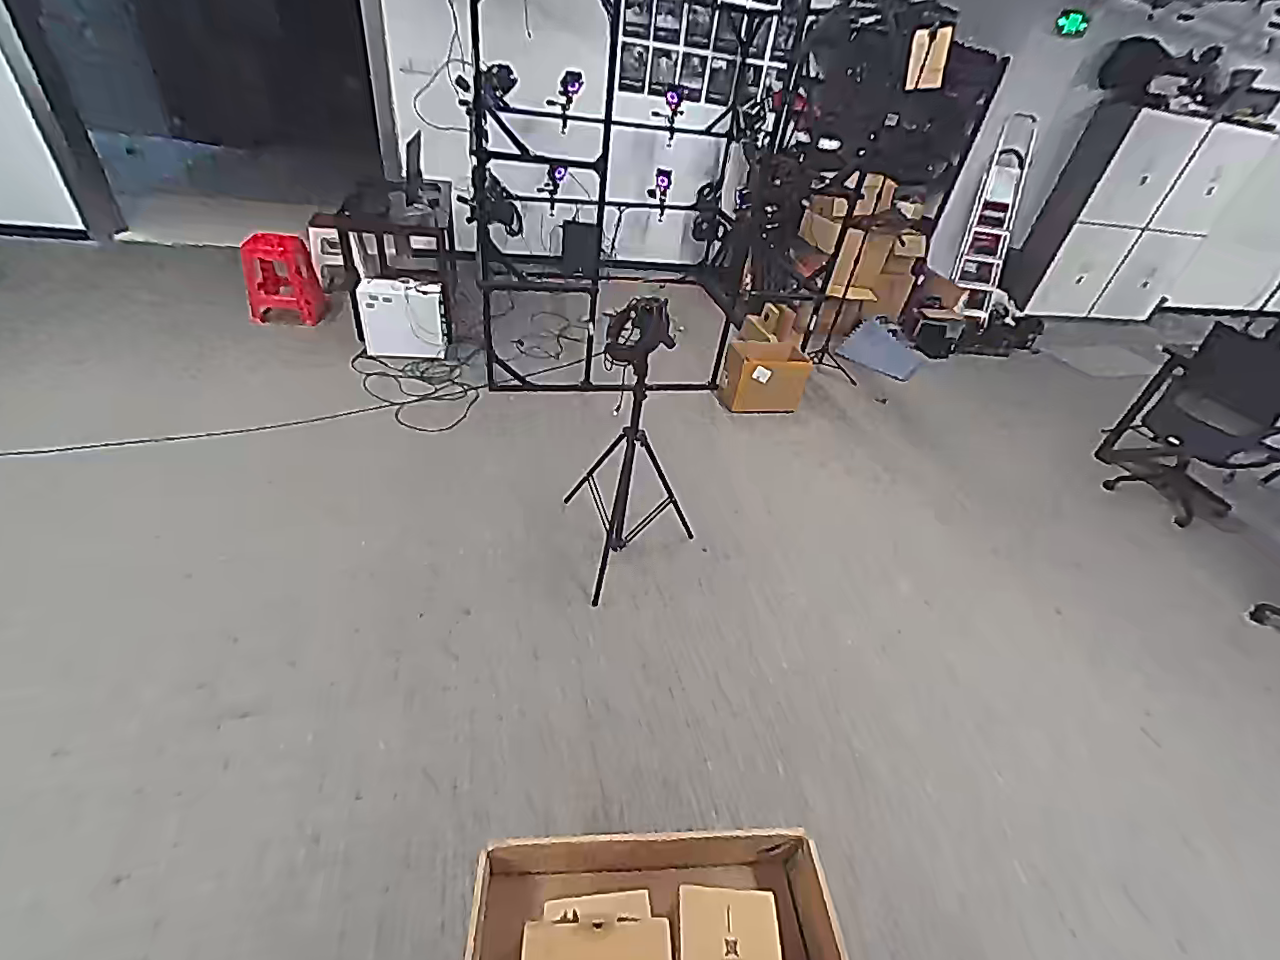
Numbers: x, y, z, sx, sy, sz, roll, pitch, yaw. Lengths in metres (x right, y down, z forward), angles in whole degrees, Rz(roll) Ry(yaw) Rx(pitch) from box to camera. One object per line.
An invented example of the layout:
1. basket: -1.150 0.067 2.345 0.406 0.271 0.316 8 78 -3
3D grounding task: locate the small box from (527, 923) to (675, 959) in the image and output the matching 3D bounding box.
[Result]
1. small box: -0.050 0.617 0.584 0.168 0.176 0.179 4 35 -7
